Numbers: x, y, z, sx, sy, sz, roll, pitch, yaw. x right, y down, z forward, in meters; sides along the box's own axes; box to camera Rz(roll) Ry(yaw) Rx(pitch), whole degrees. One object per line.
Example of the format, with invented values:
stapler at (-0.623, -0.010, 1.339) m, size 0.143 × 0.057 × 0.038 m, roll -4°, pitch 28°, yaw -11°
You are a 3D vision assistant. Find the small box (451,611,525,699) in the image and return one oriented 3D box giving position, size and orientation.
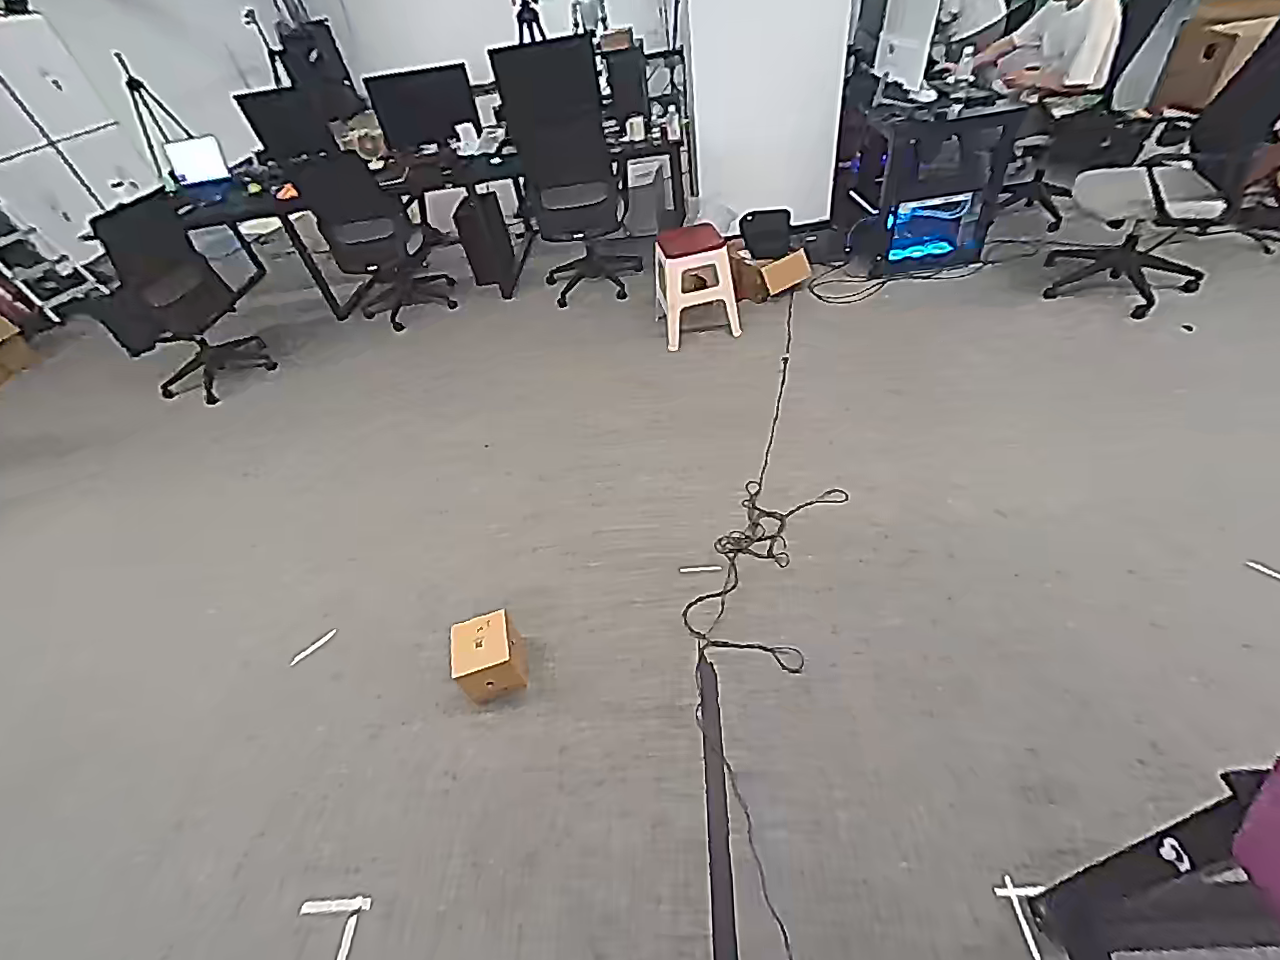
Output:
small box at (-0.447, 0.523, 1.598) m, size 0.168 × 0.176 × 0.179 m, roll -17°, pitch 44°, yaw -5°
